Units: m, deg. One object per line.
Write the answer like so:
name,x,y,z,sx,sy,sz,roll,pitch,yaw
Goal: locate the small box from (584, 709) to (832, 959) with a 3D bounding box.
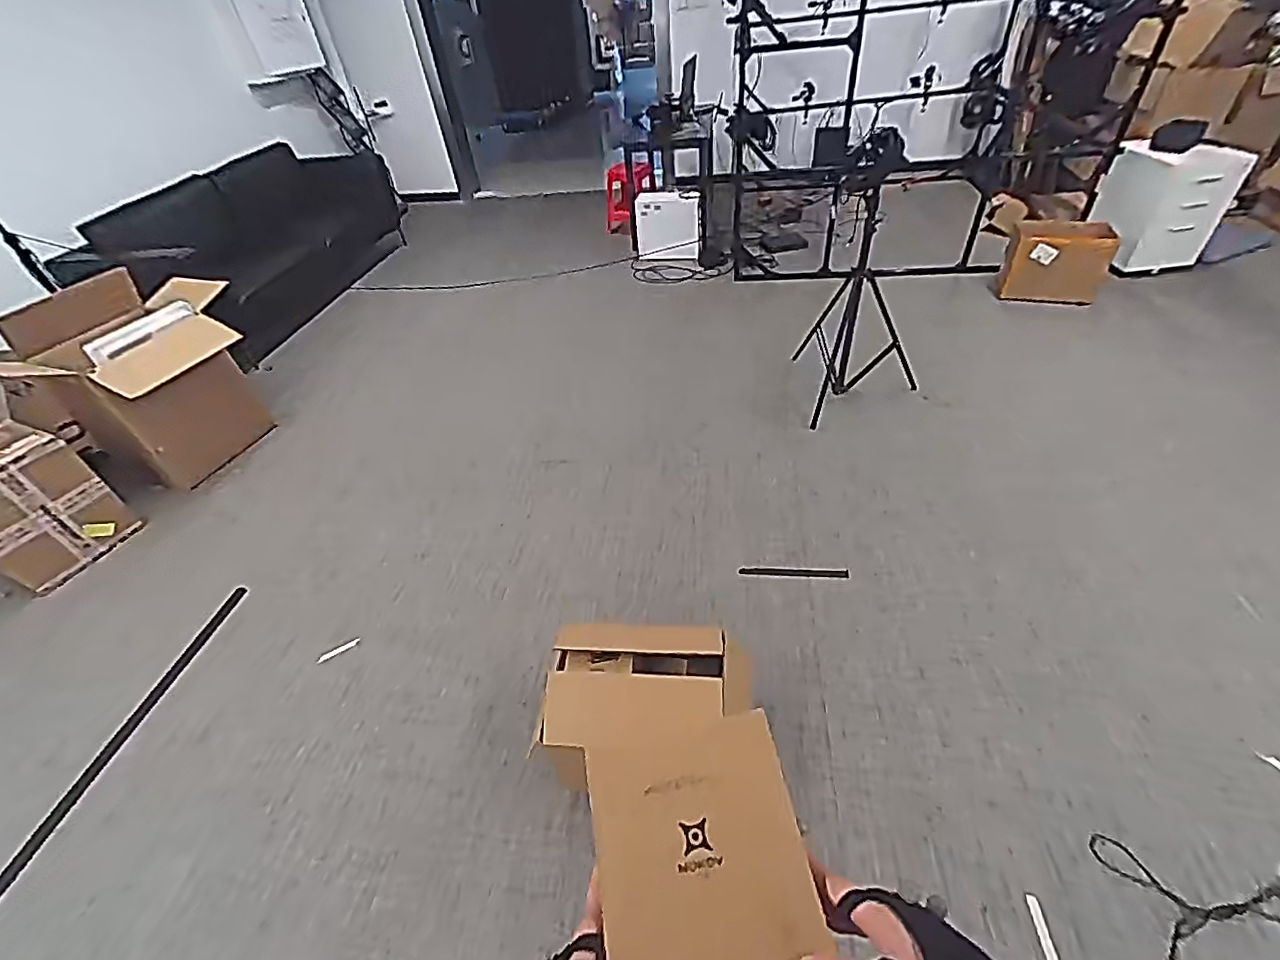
small box,0.051,0.330,0.493,0.168,0.176,0.179,-11,55,-3
